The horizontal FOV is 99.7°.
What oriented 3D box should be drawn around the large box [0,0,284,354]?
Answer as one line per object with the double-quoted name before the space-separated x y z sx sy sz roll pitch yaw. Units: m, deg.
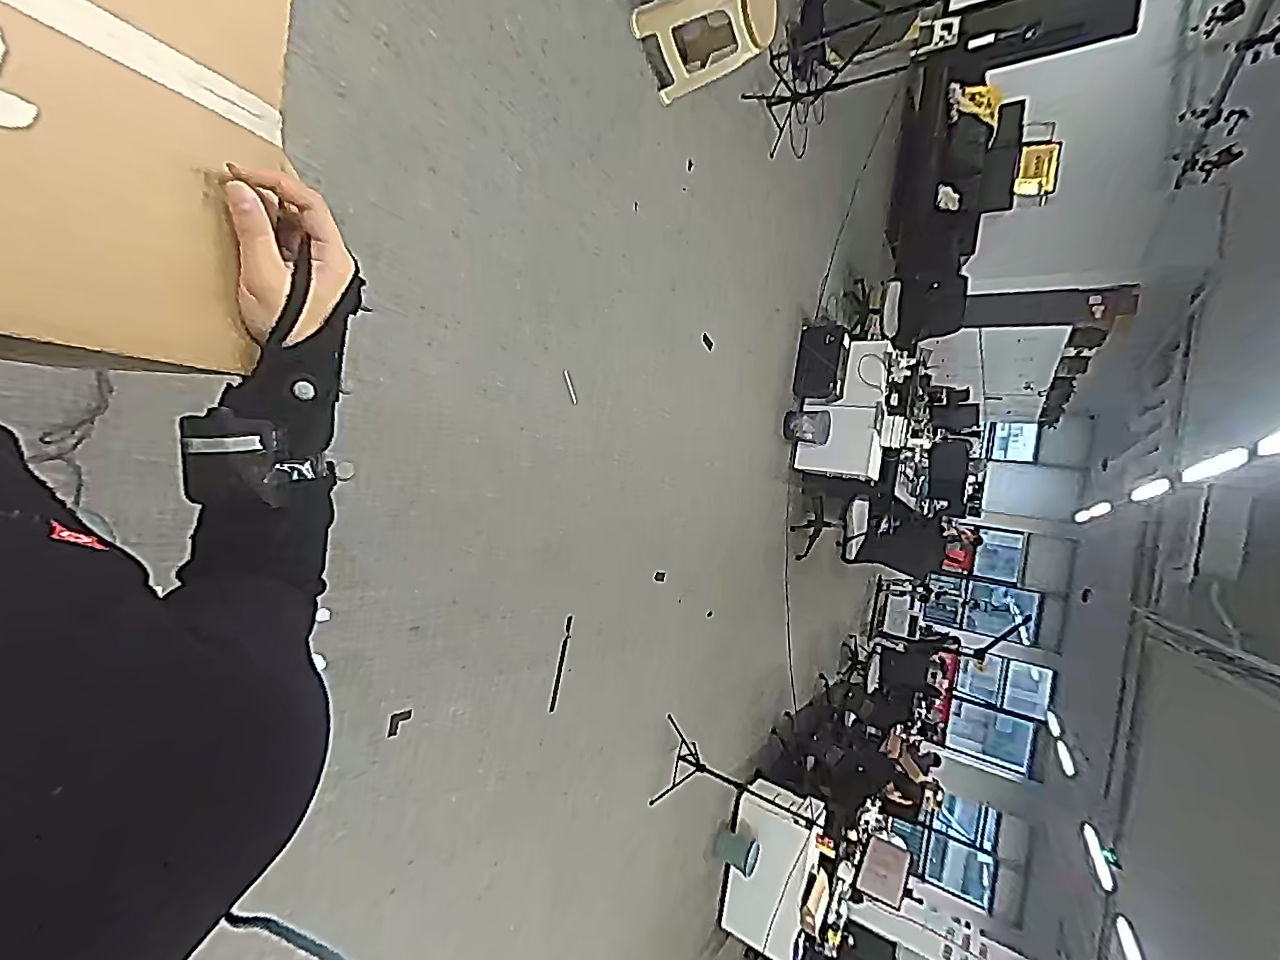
"large box" -0.464 -0.251 0.248 0.408 0.320 0.320 2 96 -62
